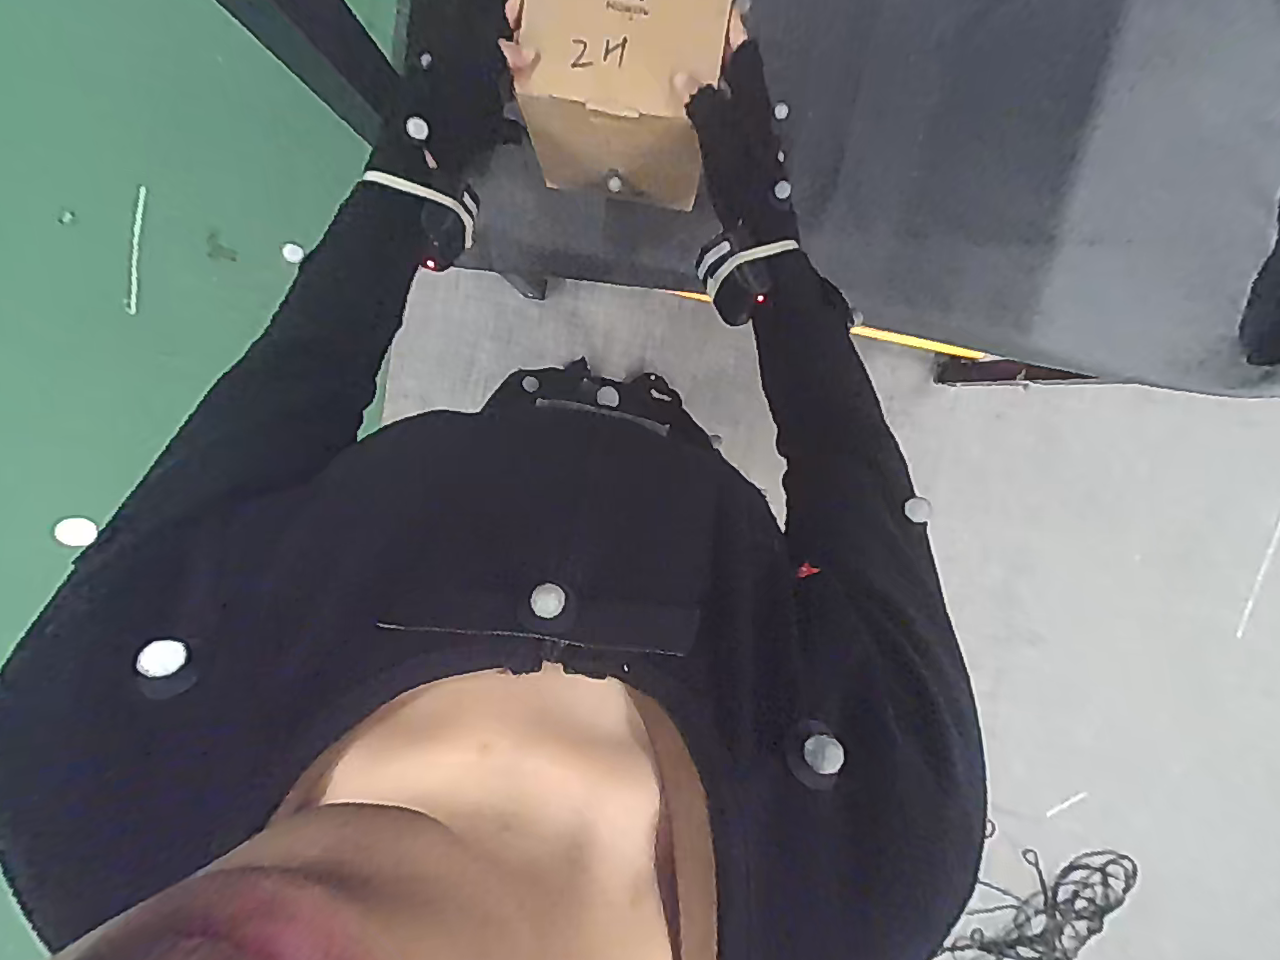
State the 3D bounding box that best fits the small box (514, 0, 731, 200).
[{"bbox_3d":[-0.009,-0.401,0.513,0.168,0.176,0.179,9,95,-1],"label":"small box"}]
